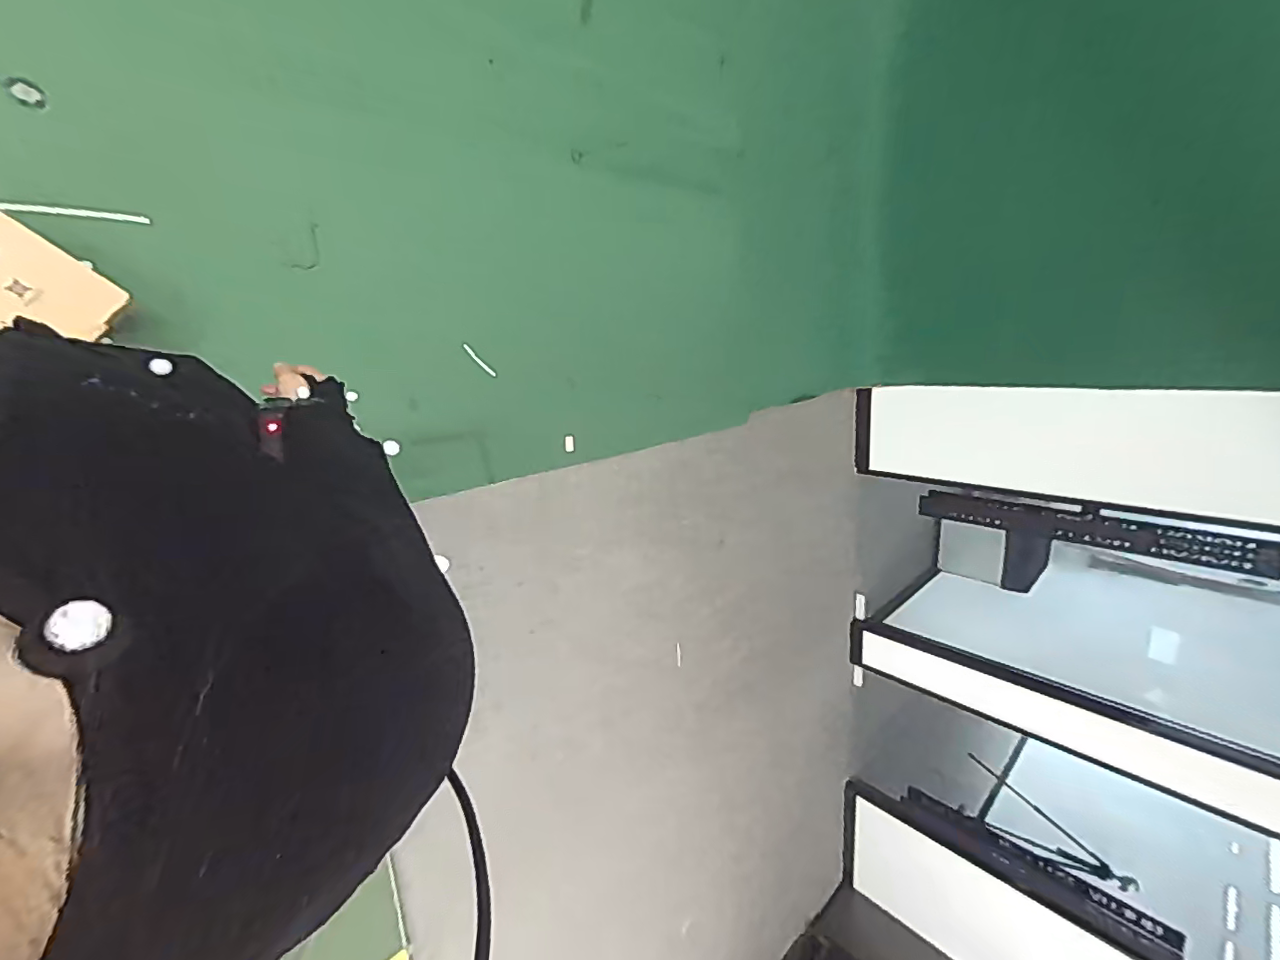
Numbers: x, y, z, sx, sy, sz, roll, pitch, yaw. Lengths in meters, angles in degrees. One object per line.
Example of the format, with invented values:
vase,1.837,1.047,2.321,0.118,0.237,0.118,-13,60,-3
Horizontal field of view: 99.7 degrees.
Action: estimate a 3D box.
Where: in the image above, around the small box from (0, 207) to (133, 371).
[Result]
small box,-0.959,-0.292,0.856,0.179,0.176,0.168,44,69,-39
